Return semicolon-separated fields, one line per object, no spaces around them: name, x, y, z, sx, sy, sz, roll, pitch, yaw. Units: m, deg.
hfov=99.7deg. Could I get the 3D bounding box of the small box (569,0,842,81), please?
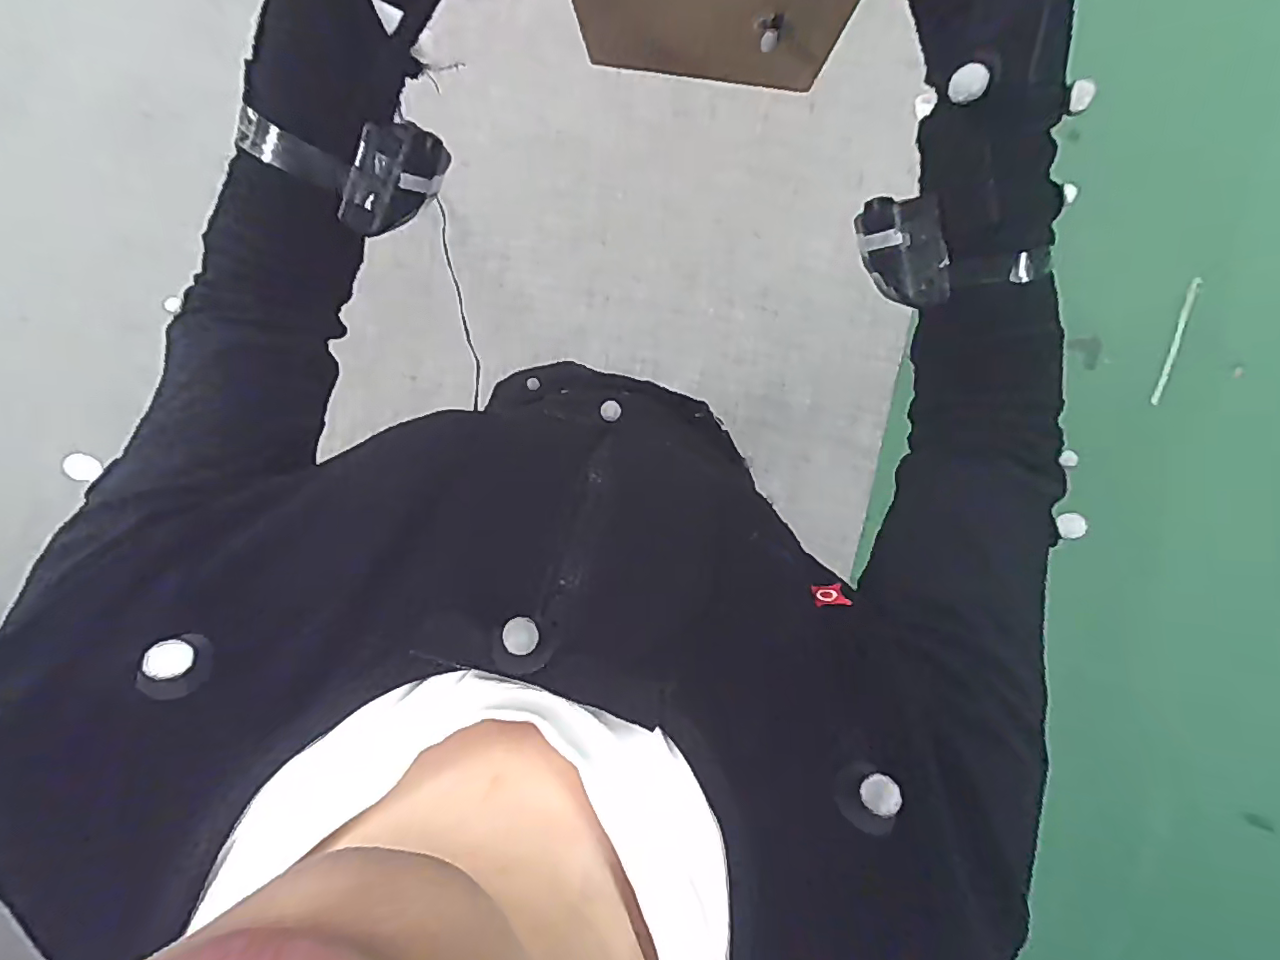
small box;0.048;-0.373;0.325;0.179;0.176;0.168;8;105;3
